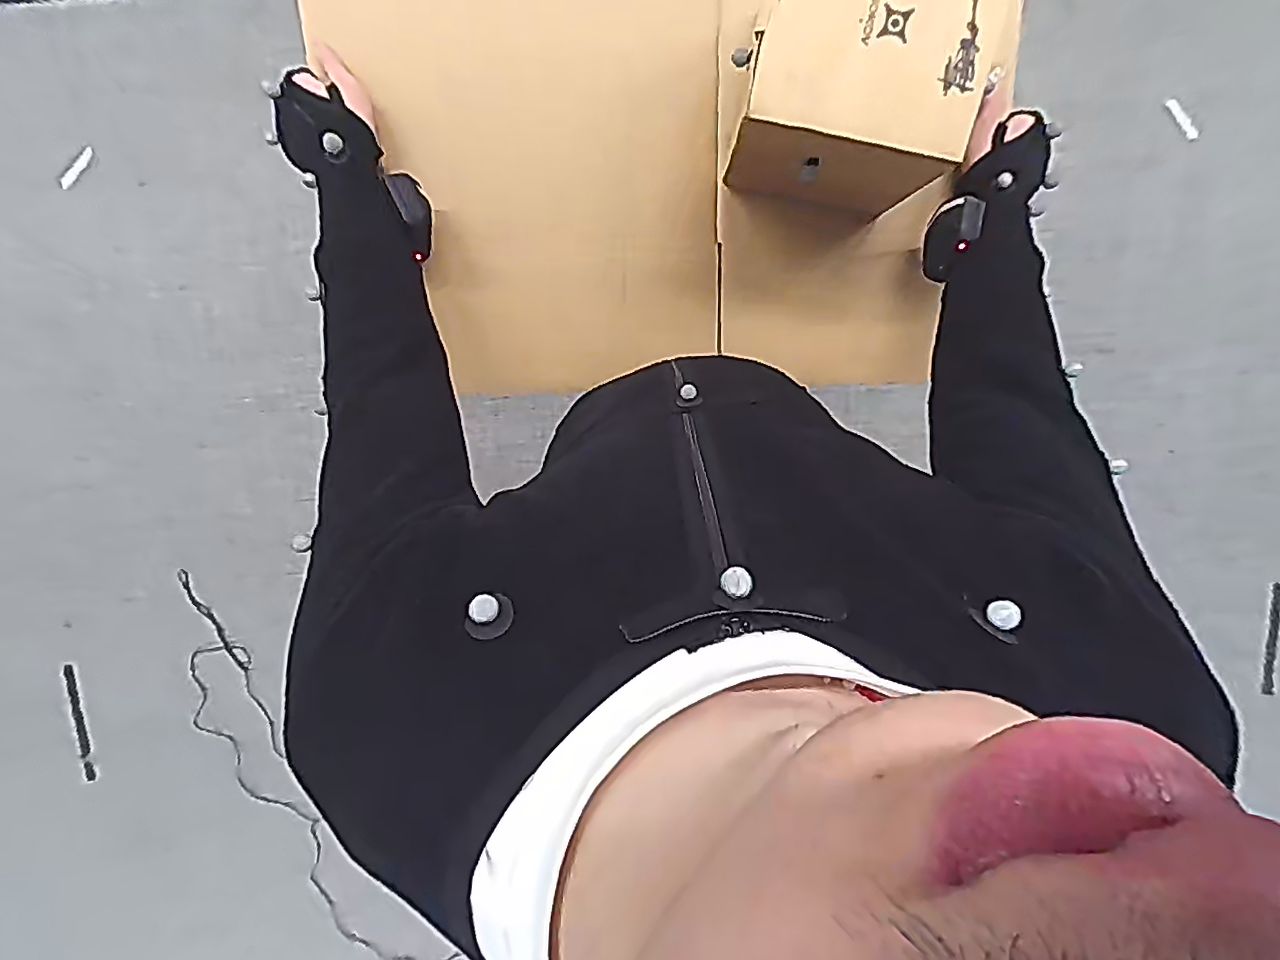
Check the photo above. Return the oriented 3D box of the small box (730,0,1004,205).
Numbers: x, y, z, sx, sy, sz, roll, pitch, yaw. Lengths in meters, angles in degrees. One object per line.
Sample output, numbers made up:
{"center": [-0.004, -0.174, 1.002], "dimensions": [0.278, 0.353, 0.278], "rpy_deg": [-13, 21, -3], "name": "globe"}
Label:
{"center": [0.186, -0.367, 0.486], "dimensions": [0.179, 0.176, 0.168], "rpy_deg": [12, 103, 1], "name": "small box"}
